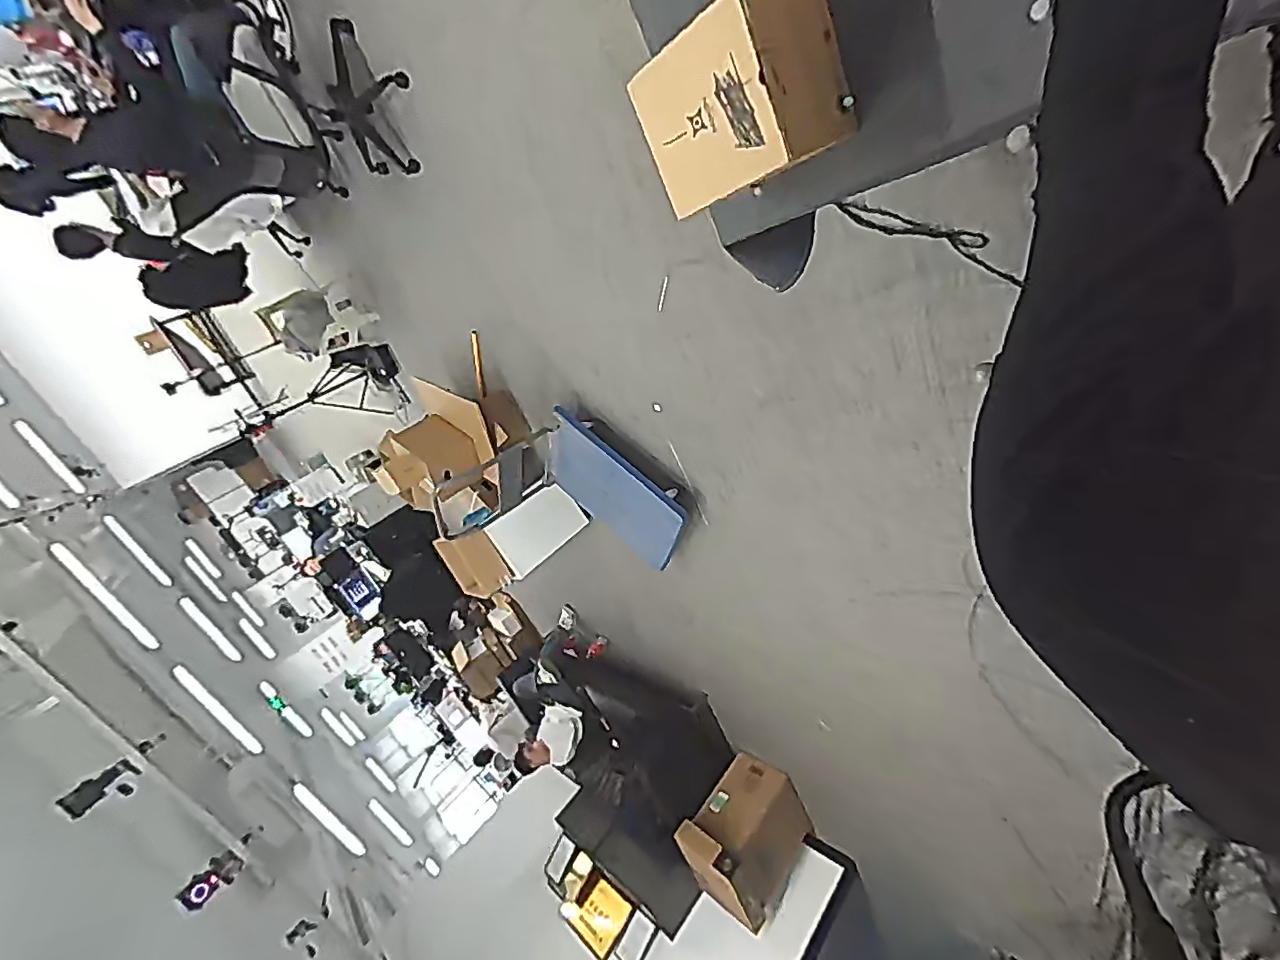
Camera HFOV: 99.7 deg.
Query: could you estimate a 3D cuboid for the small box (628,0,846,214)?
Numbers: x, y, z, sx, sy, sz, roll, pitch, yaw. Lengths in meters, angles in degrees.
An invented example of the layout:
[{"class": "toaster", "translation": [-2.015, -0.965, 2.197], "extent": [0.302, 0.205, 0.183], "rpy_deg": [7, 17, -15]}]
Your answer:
[{"class": "small box", "translation": [0.124, -0.455, 0.649], "extent": [0.179, 0.176, 0.168], "rpy_deg": [1, 124, 51]}]
